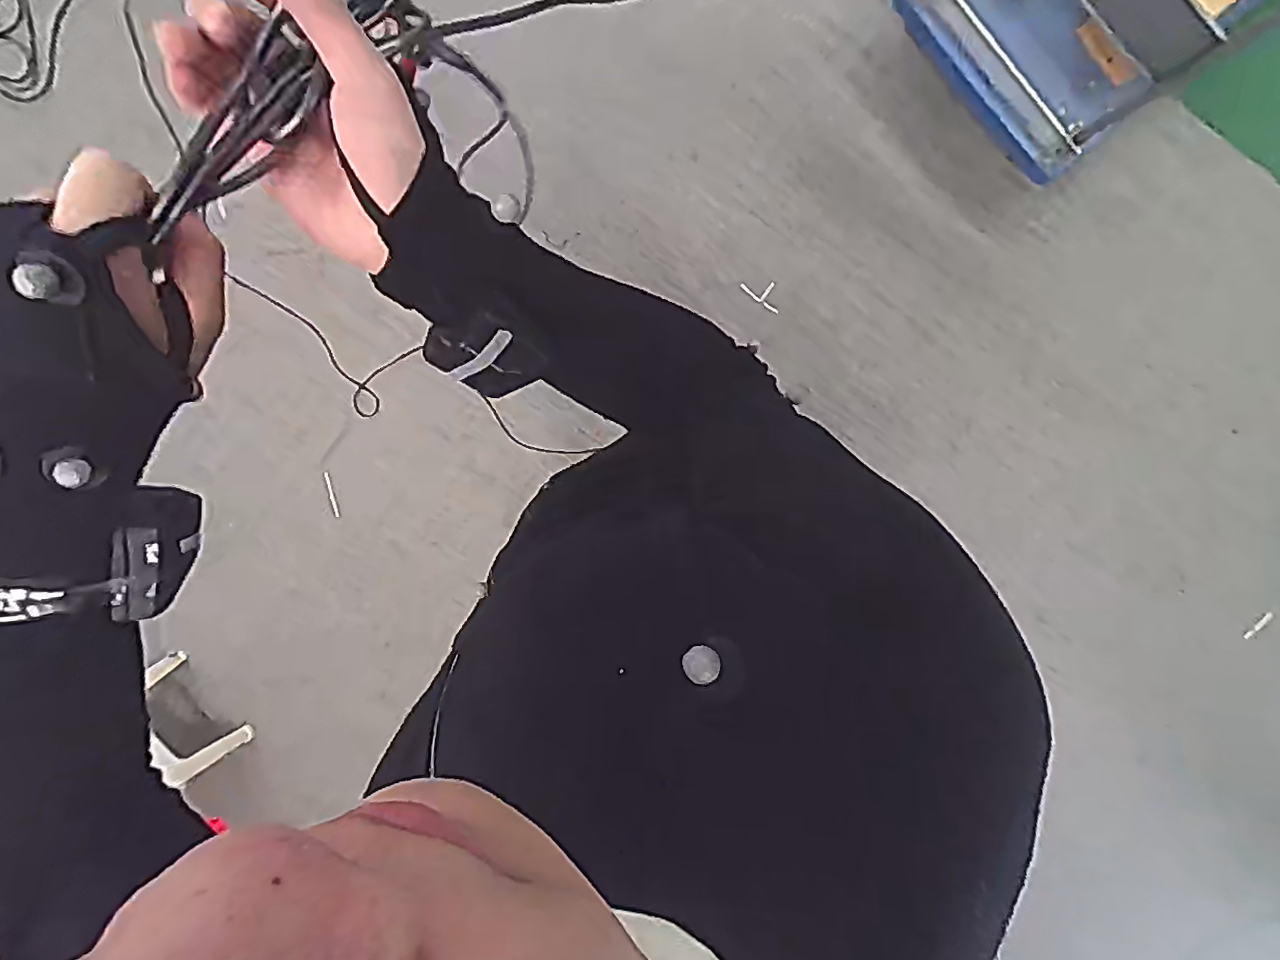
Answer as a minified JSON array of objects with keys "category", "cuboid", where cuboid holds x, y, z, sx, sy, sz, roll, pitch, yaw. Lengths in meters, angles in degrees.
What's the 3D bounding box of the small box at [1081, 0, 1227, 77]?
[{"category":"small box","cuboid":[1.080,-0.998,1.113,0.179,0.176,0.168,-41,95,9]}]
